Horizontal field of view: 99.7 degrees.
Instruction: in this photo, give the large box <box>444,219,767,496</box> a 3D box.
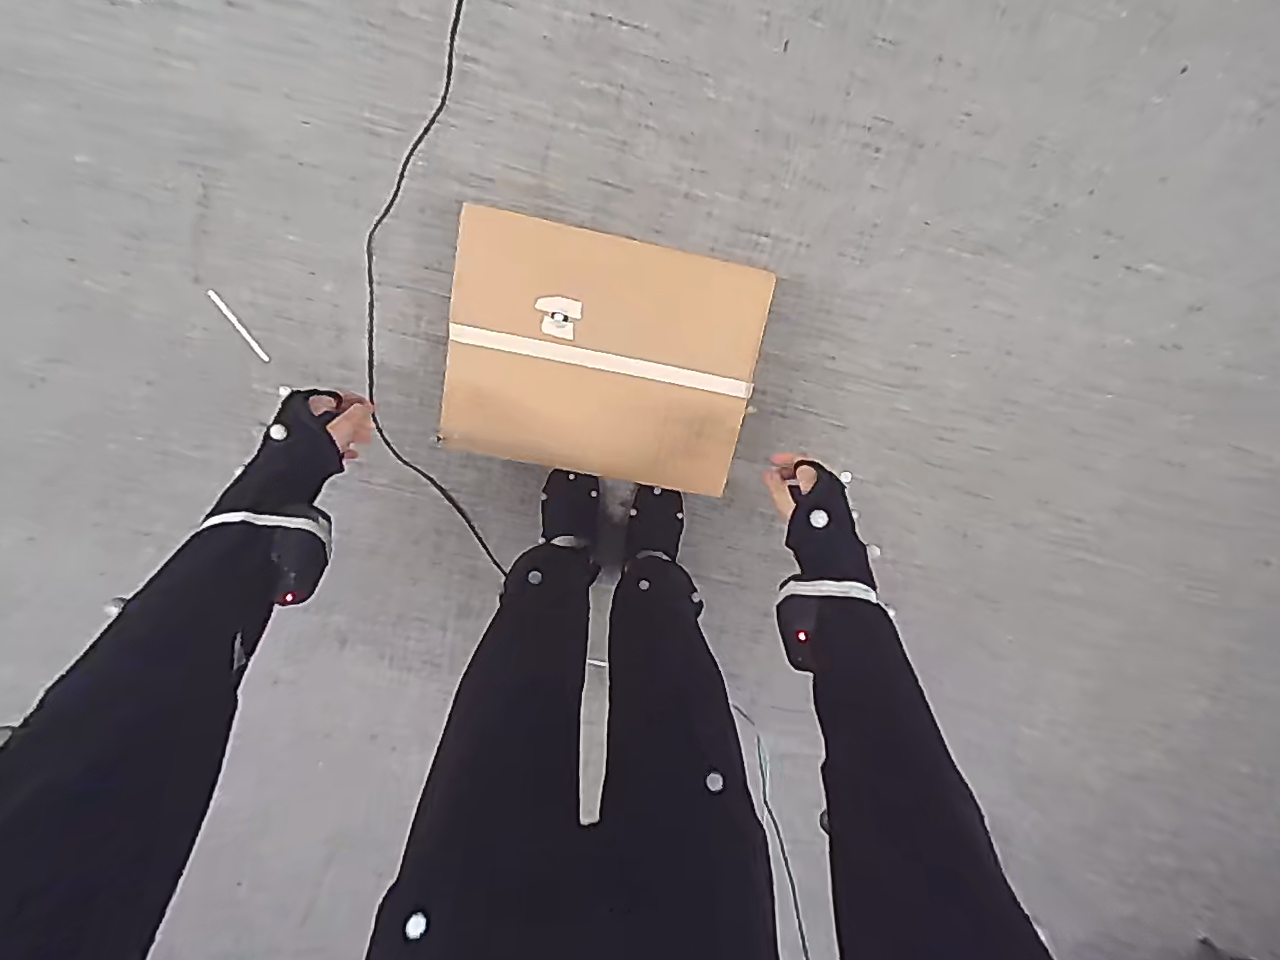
[{"bbox_3d":[-0.056,-0.191,0.872,0.408,0.320,0.320,10,104,-5],"label":"large box"}]
